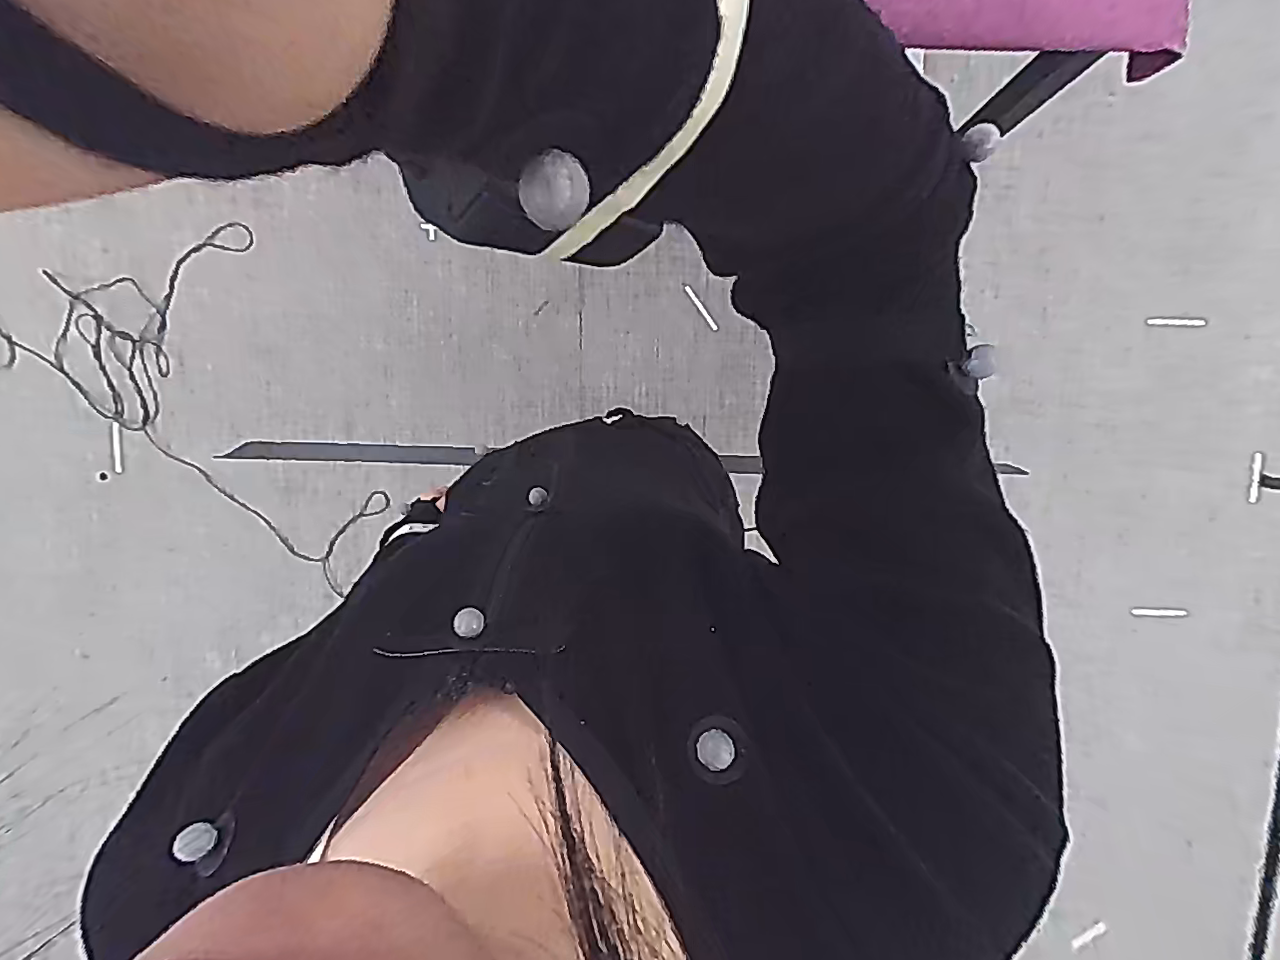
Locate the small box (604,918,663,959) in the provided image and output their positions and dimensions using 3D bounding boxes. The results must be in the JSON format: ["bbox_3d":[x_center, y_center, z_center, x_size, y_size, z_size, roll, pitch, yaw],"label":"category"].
[{"bbox_3d":[-0.021,1.402,1.544,0.168,0.176,0.179,3,96,1],"label":"small box"}]
